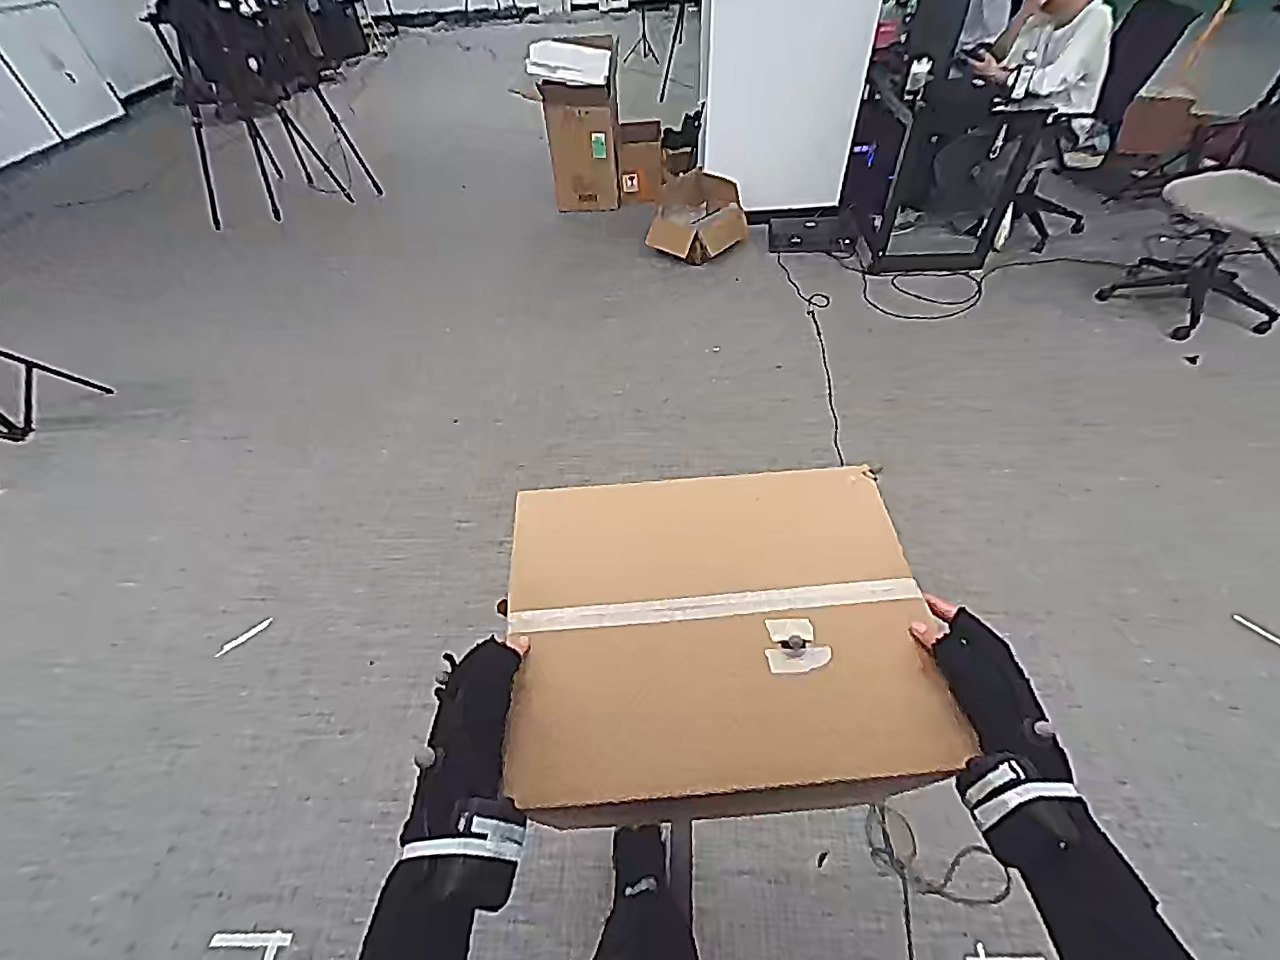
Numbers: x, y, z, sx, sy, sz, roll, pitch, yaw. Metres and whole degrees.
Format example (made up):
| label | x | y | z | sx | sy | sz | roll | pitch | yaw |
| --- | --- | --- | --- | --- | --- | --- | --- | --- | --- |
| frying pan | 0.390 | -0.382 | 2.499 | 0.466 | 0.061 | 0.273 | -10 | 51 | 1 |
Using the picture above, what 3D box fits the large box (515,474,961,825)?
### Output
| label | x | y | z | sx | sy | sz | roll | pitch | yaw |
| --- | --- | --- | --- | --- | --- | --- | --- | --- | --- |
| large box | 0.077 | 0.220 | 0.674 | 0.408 | 0.320 | 0.320 | -4 | 55 | -2 |
